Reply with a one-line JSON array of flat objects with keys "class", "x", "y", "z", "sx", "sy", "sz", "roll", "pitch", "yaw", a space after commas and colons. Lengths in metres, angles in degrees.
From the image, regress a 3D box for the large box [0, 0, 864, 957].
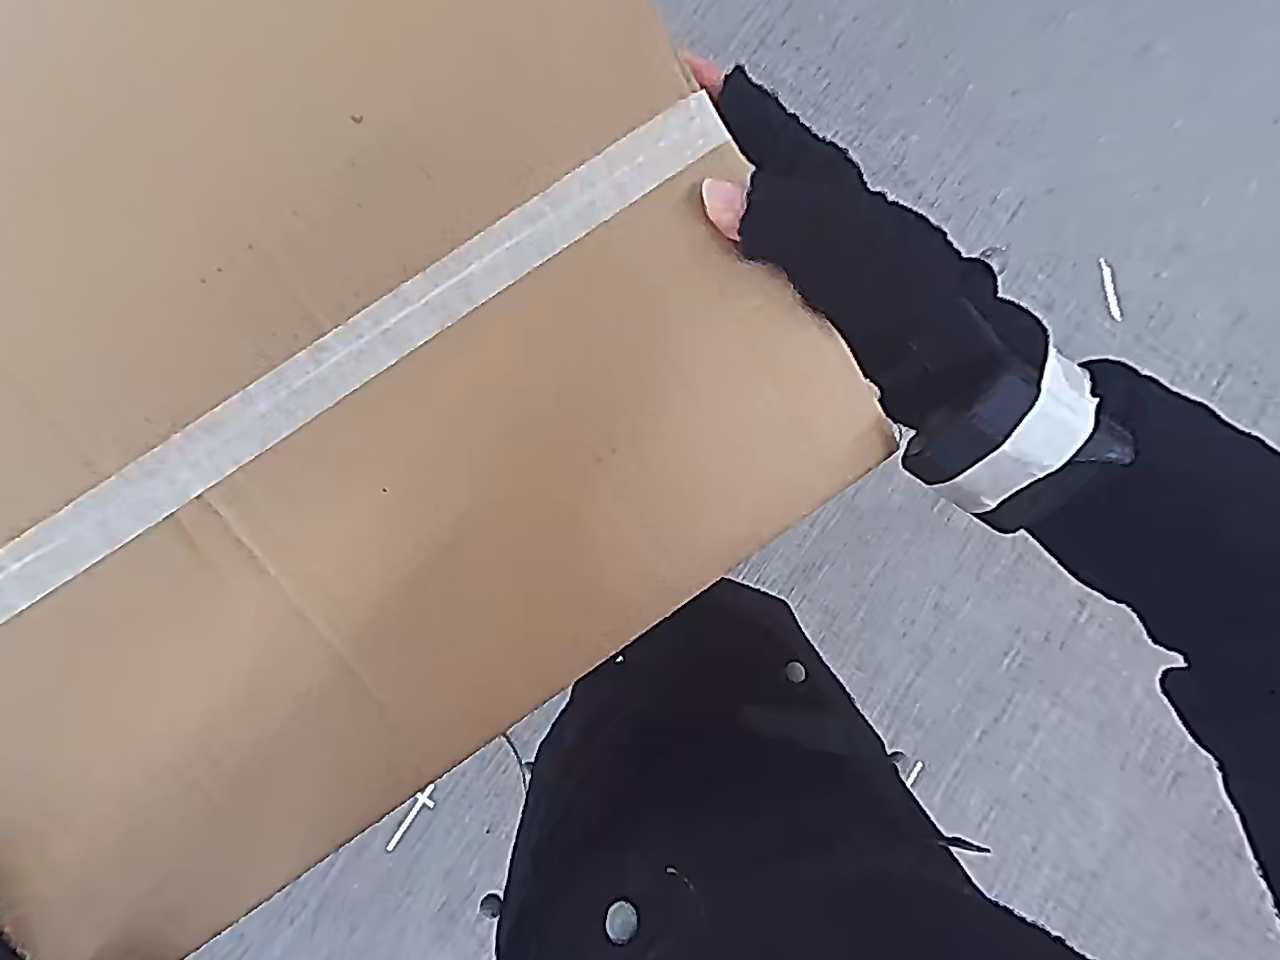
[{"class": "large box", "x": -0.158, "y": -0.050, "z": 0.357, "sx": 0.408, "sy": 0.320, "sz": 0.320, "roll": -34, "pitch": 101, "yaw": -3}]
